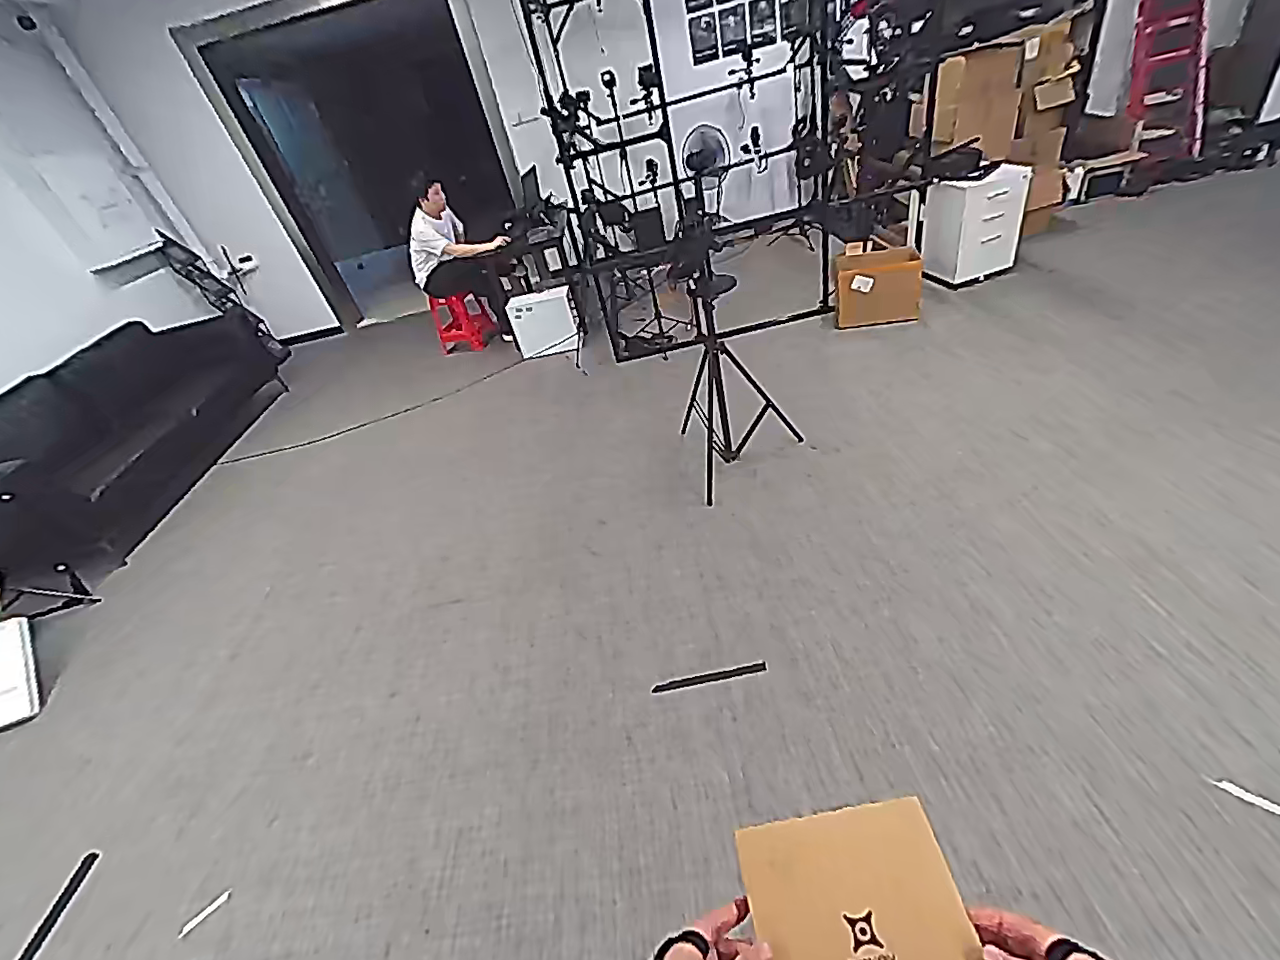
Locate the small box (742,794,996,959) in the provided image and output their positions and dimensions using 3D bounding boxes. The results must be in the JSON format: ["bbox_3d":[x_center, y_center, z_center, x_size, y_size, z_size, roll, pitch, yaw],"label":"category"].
[{"bbox_3d":[0.190,0.403,0.469,0.168,0.176,0.179,-13,47,2],"label":"small box"}]
